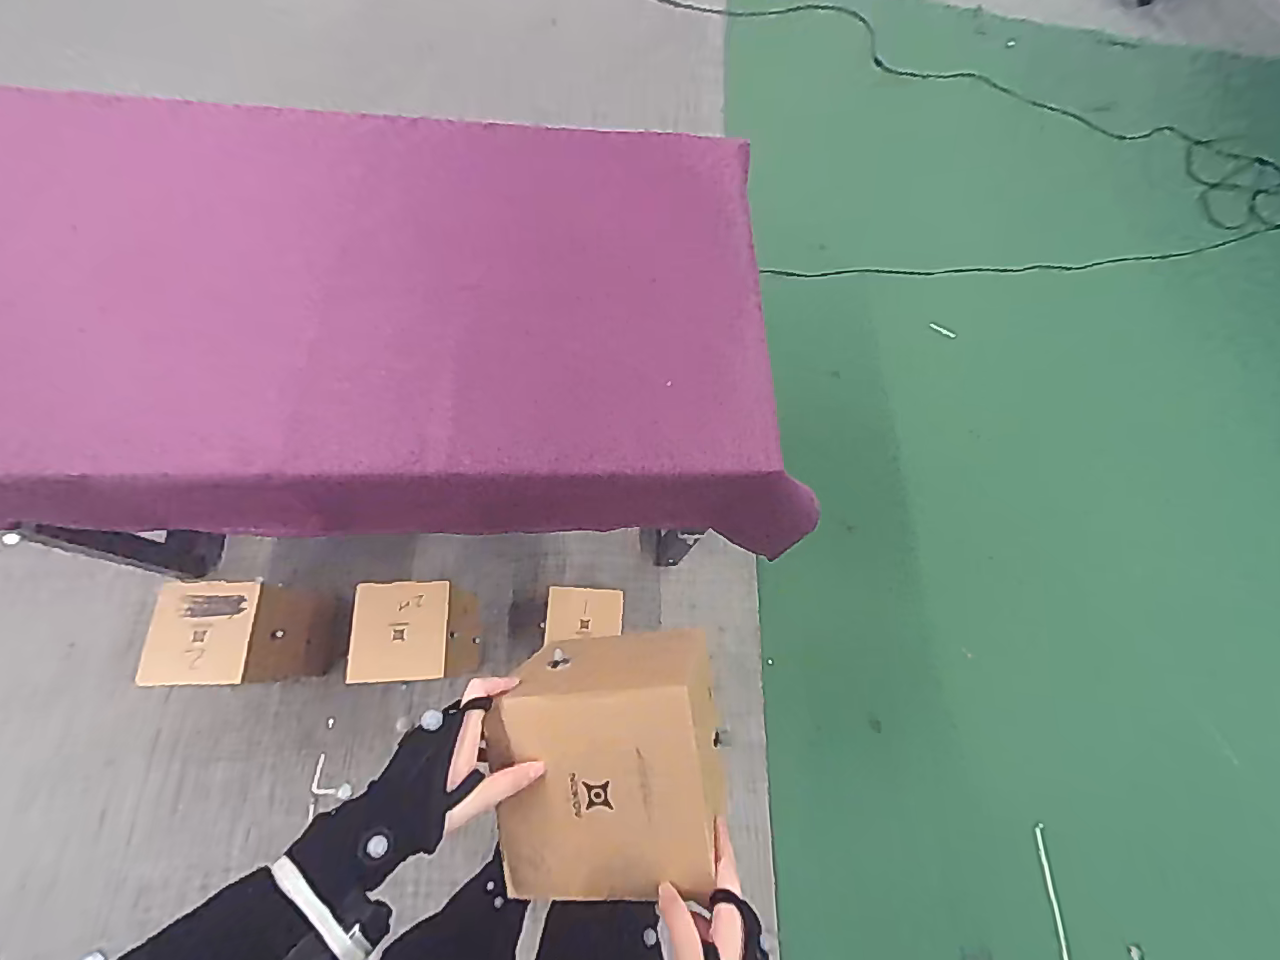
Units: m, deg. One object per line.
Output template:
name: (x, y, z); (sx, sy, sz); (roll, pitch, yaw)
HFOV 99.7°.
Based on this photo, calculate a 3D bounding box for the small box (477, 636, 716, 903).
small box: (-0.029, 0.257, 0.517); (0.179, 0.176, 0.168); (-8, 88, 11)

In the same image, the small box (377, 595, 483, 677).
small box: (-0.460, 0.354, 1.213); (0.179, 0.176, 0.168); (1, 70, -6)
